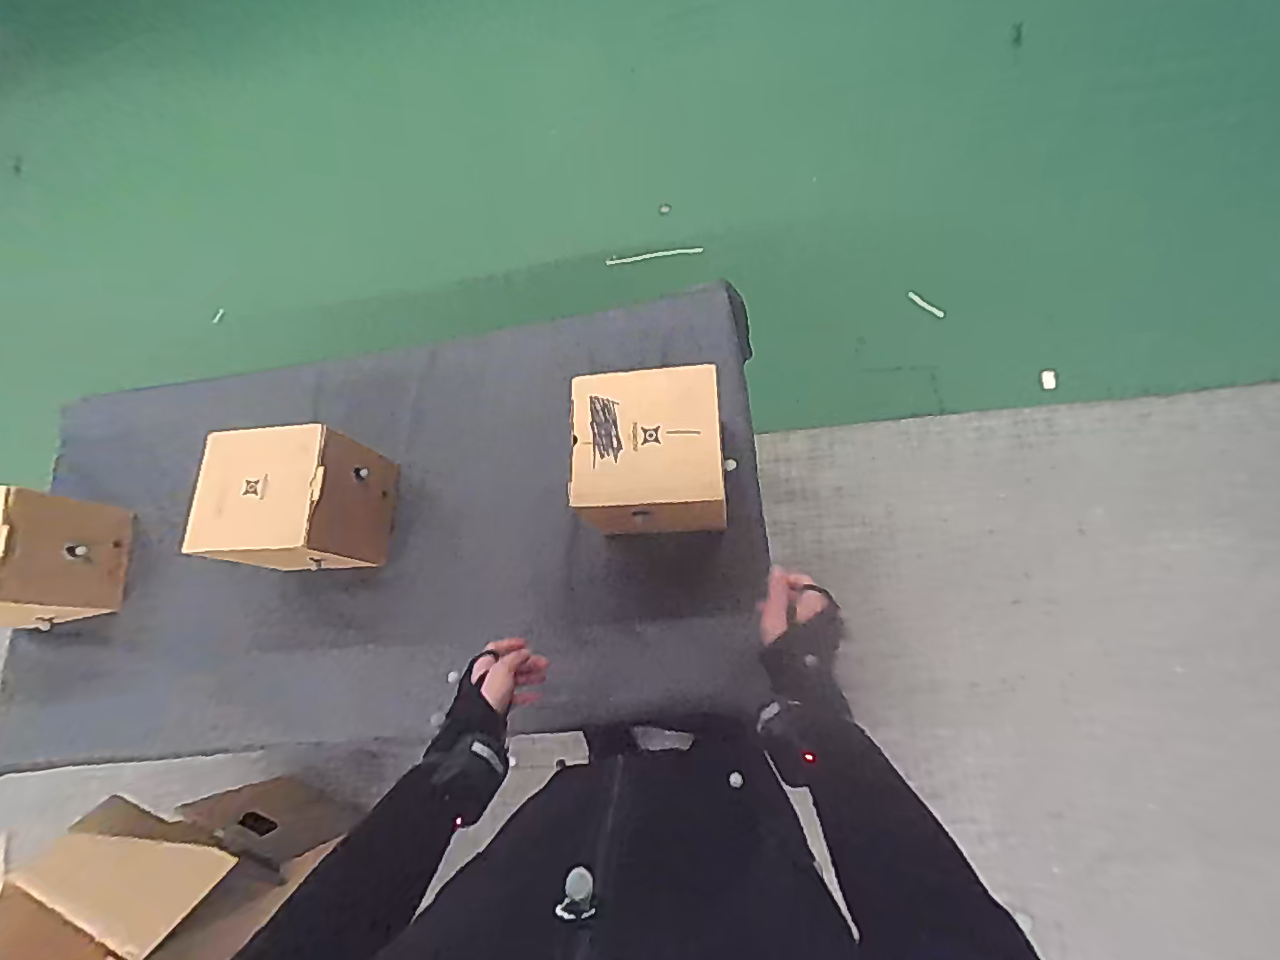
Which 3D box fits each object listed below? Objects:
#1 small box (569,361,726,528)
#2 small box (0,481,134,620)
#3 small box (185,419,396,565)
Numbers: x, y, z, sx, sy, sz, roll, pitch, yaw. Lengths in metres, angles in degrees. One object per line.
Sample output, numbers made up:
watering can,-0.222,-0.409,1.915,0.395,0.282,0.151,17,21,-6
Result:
small box,0.018,-0.034,0.692,0.179,0.176,0.168,-3,73,8
small box,-0.926,0.113,0.814,0.179,0.176,0.168,-11,72,5
small box,-0.475,0.026,0.765,0.179,0.176,0.168,-4,72,10
